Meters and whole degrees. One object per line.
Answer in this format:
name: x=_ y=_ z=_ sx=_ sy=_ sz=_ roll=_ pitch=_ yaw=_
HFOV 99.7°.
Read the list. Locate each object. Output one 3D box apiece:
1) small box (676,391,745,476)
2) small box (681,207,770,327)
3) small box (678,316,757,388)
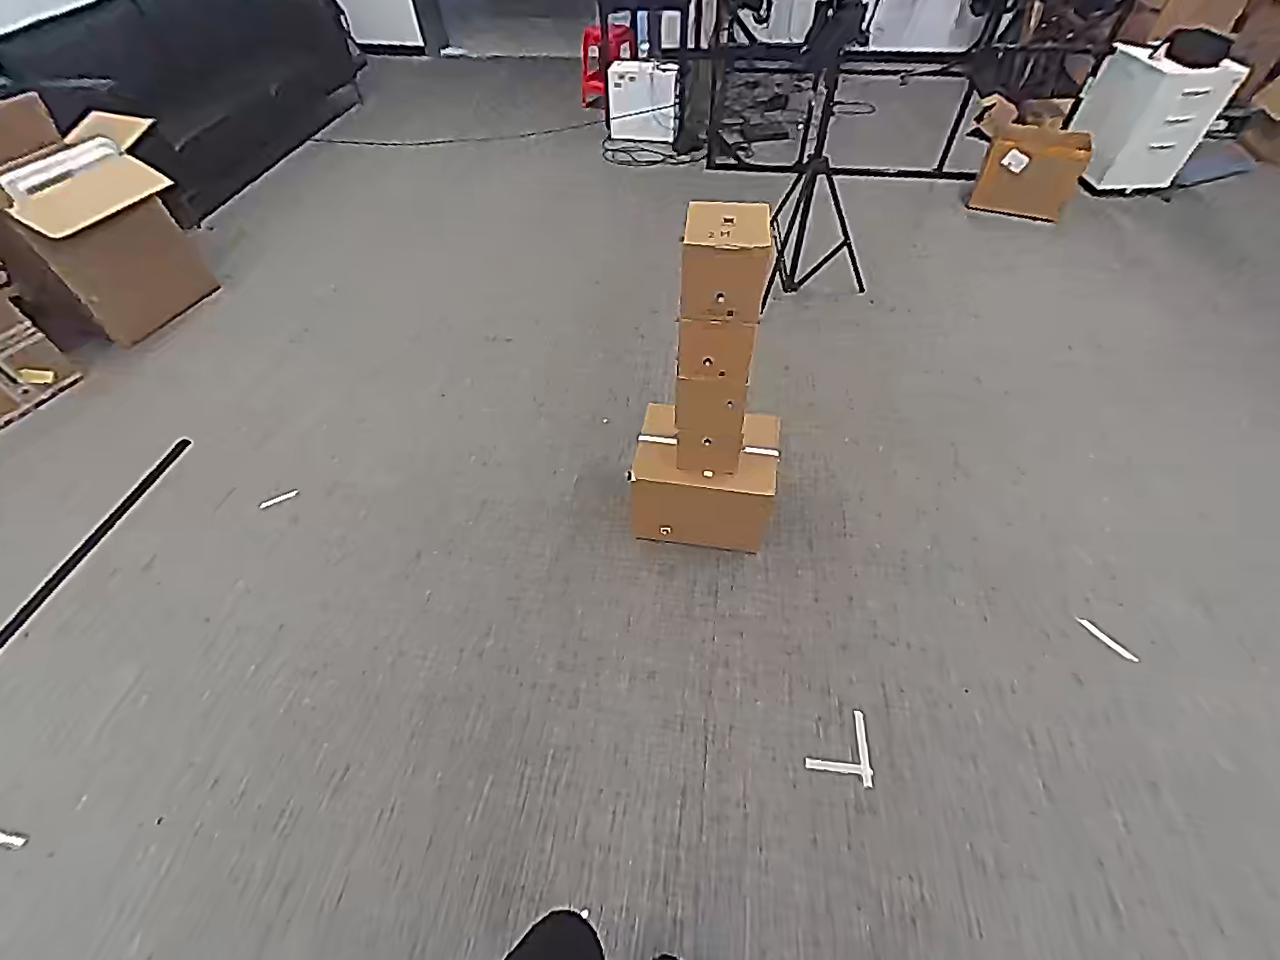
small box: x=0.194 y=-0.127 z=1.506 sx=0.179 sy=0.176 sz=0.168 roll=6 pitch=53 yaw=5
small box: x=0.175 y=-0.445 z=1.132 sx=0.168 sy=0.176 sz=0.179 roll=4 pitch=53 yaw=6
small box: x=0.180 y=-0.340 z=1.259 sx=0.168 sy=0.176 sz=0.179 roll=6 pitch=53 yaw=6
